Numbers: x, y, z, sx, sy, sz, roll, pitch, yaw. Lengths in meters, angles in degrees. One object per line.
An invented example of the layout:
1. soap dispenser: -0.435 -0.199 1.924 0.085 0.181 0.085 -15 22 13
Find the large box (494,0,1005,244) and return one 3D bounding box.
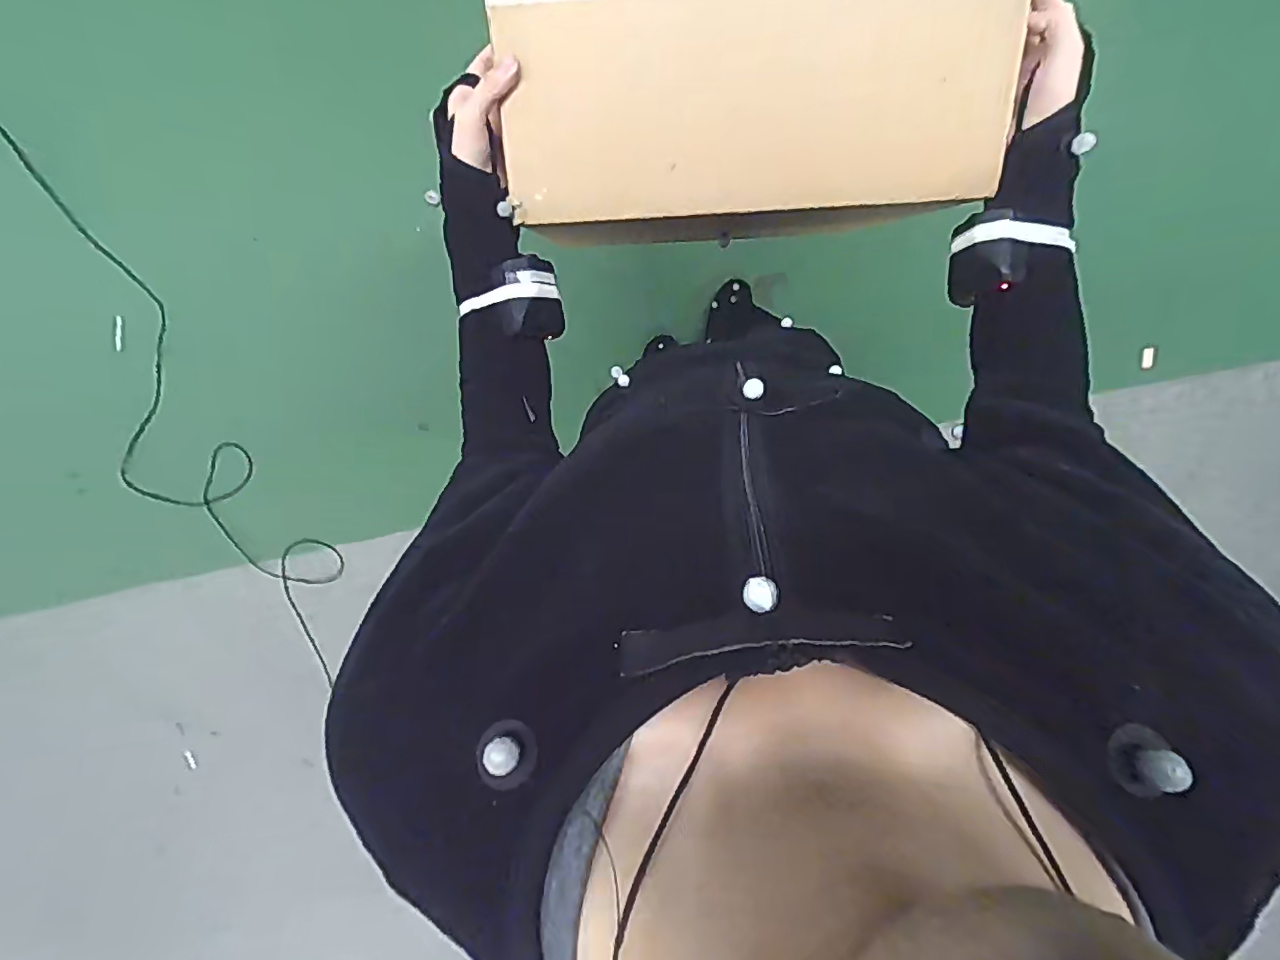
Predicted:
1. large box: 0.087 -0.428 0.555 0.408 0.320 0.320 -3 109 1
